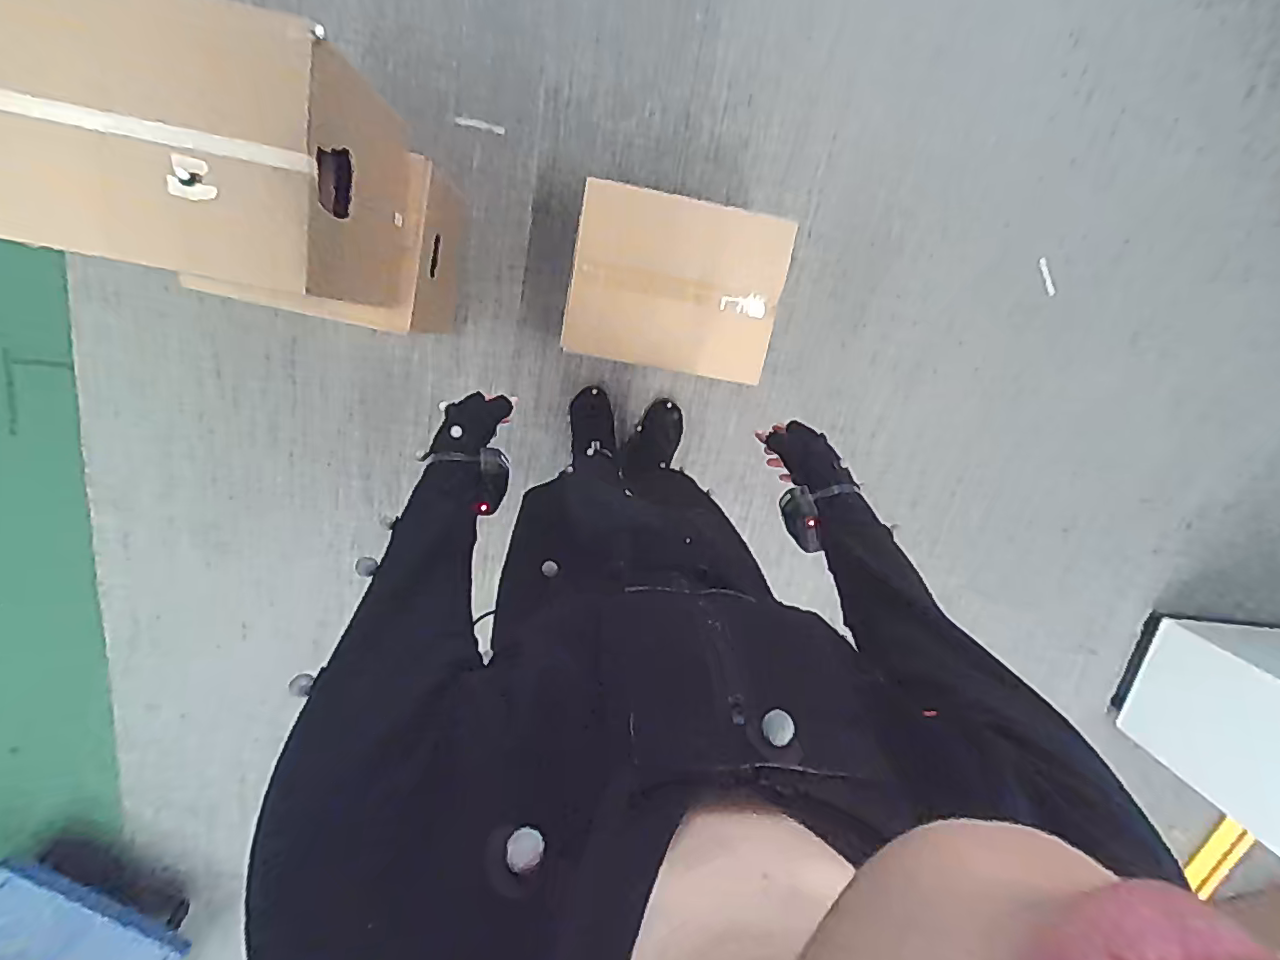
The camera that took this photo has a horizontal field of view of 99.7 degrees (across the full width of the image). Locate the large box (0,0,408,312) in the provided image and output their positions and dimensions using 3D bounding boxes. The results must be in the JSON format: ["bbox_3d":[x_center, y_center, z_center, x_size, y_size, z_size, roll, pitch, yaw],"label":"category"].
[{"bbox_3d":[-0.609,-0.453,0.798,0.408,0.320,0.320,9,102,-7],"label":"large box"}]
